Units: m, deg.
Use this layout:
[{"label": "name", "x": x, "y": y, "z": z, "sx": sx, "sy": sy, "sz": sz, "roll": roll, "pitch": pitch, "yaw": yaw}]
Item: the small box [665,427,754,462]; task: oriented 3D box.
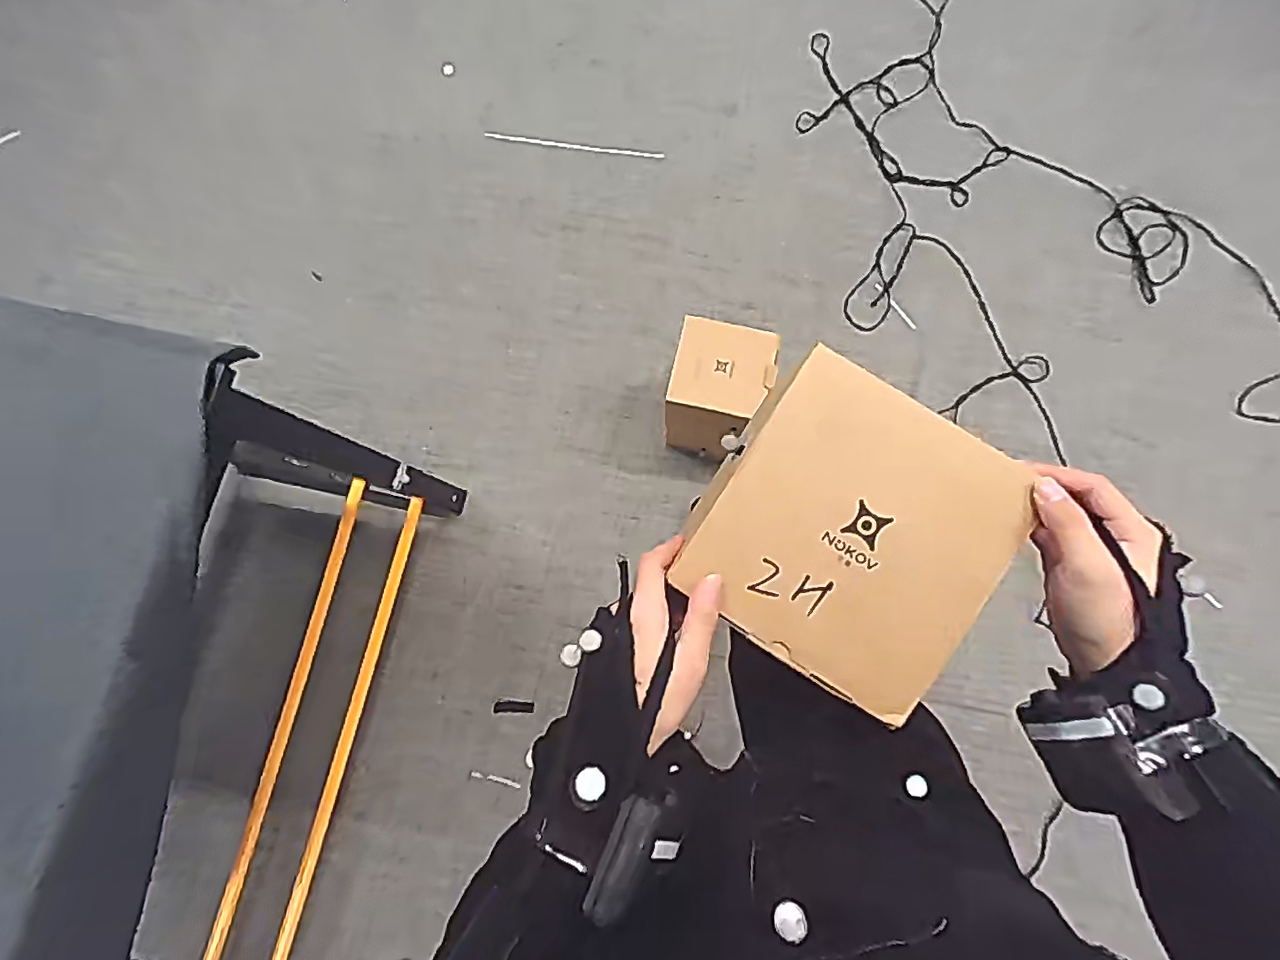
[{"label": "small box", "x": 0.160, "y": -0.148, "z": 1.176, "sx": 0.179, "sy": 0.176, "sz": 0.168, "roll": 15, "pitch": 79, "yaw": 4}]

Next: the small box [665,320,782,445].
[{"label": "small box", "x": 0.150, "y": -0.174, "z": 1.017, "sx": 0.179, "sy": 0.176, "sz": 0.168, "roll": 13, "pitch": 79, "yaw": 6}]
